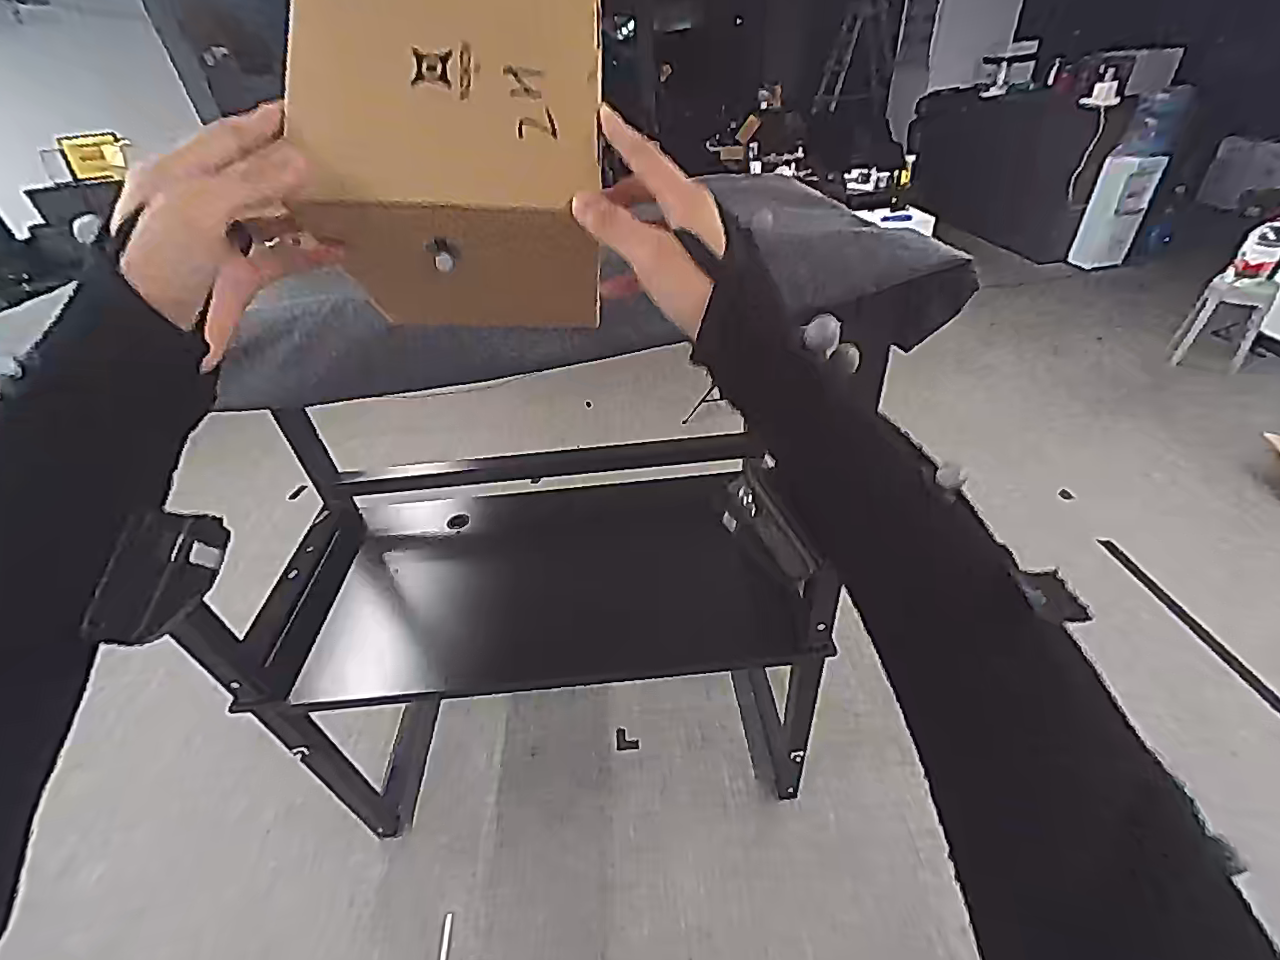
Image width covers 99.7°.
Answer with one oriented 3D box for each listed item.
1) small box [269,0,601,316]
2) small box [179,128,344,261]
[{"bbox_3d":[-0.117,-0.228,0.383,0.179,0.168,0.176,0,-7,-5],"label":"small box"},{"bbox_3d":[-0.580,-0.471,0.883,0.168,0.176,0.179,-10,38,-3],"label":"small box"}]
